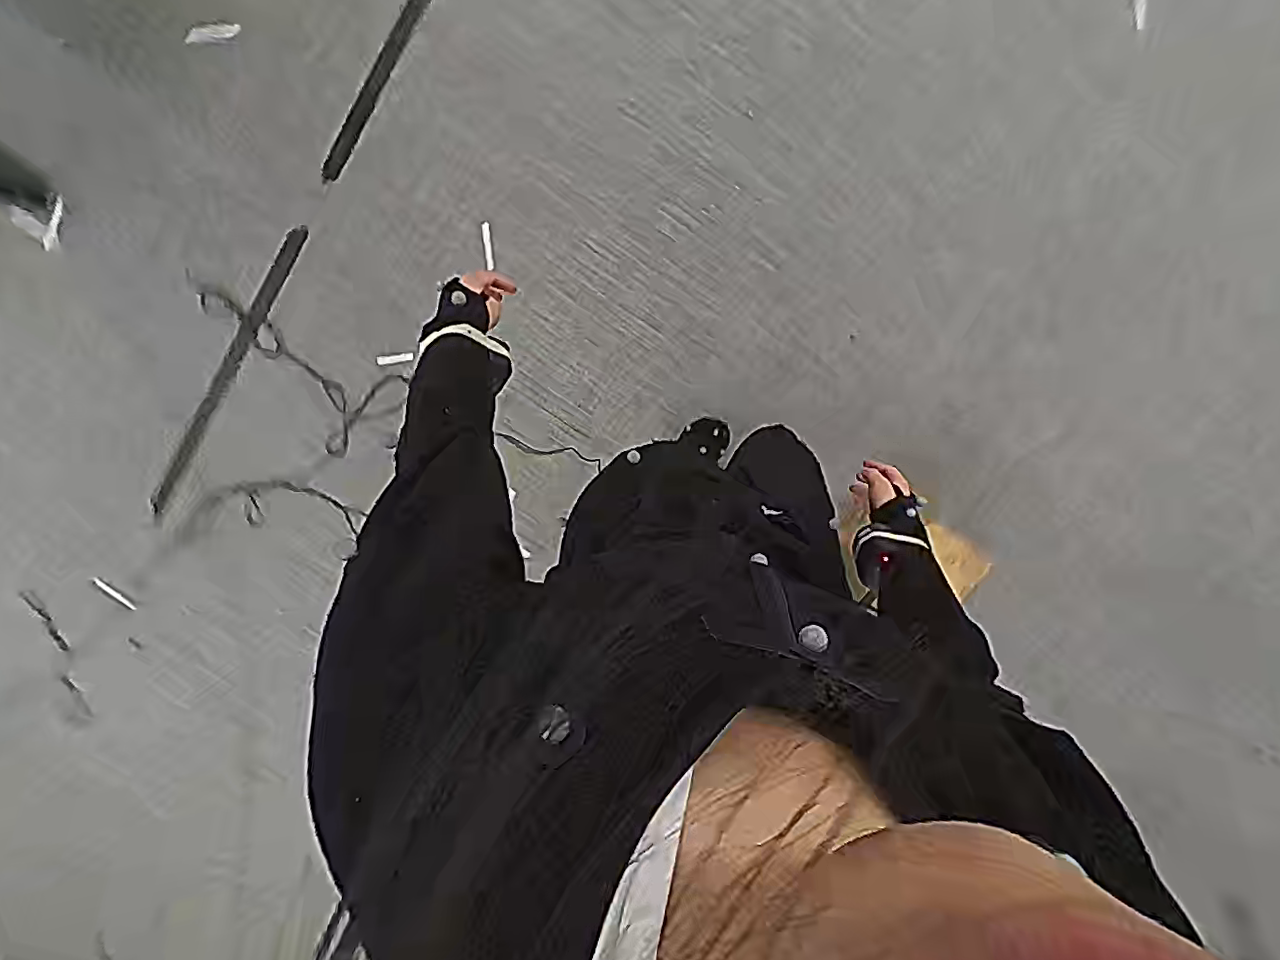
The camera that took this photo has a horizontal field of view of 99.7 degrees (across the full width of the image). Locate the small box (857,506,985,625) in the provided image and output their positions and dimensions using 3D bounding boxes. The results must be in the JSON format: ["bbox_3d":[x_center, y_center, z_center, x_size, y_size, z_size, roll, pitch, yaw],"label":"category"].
[{"bbox_3d":[0.621,0.187,1.228,0.168,0.176,0.179,36,101,-3],"label":"small box"}]
